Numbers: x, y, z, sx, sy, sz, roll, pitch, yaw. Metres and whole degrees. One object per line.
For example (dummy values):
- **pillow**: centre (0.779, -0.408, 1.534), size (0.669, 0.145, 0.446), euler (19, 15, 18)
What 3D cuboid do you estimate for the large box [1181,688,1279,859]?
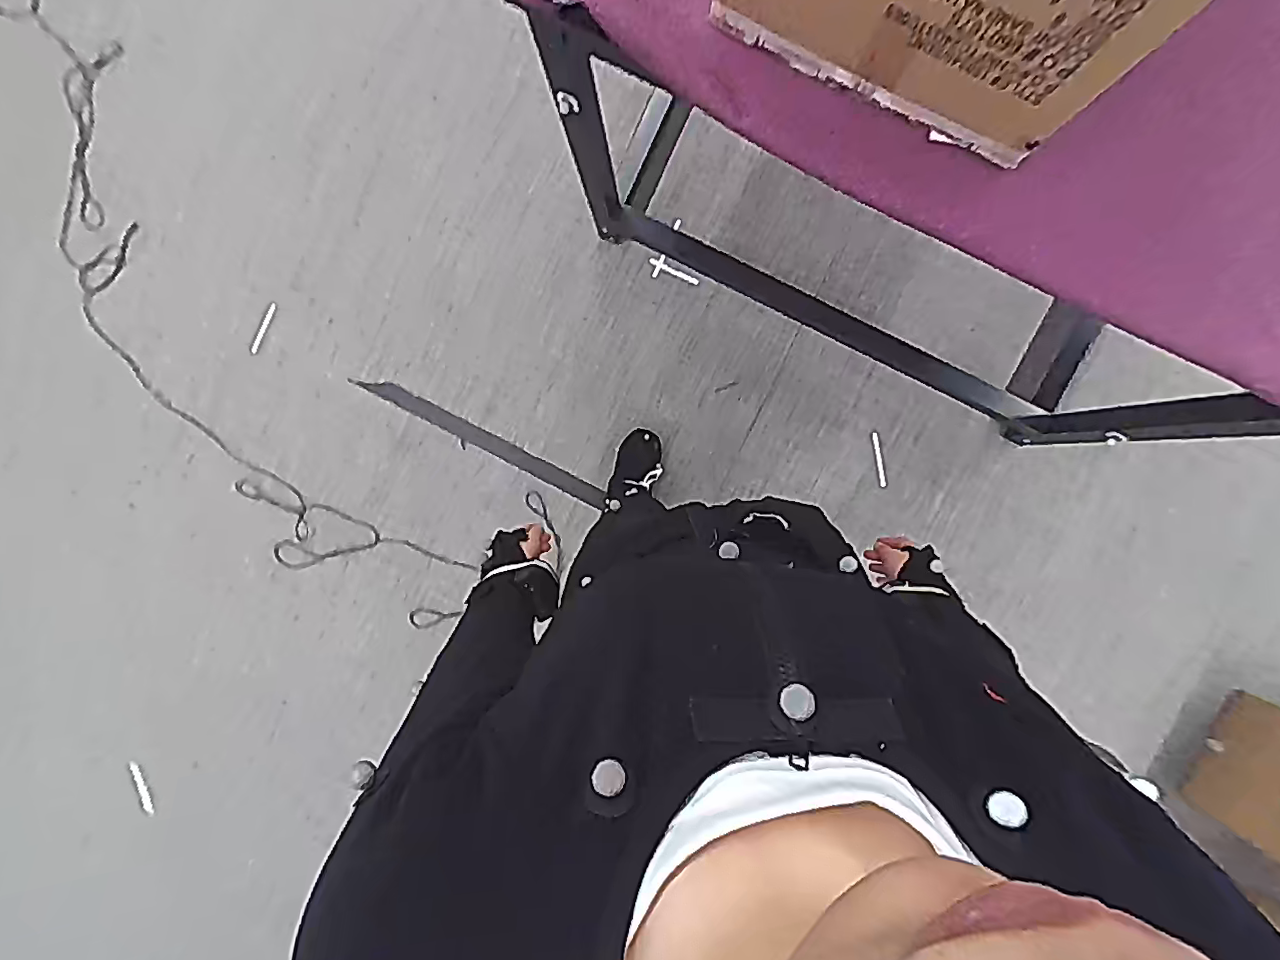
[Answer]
- **large box**: centre (1.580, 0.731, 1.184), size (0.408, 0.320, 0.320), euler (25, 93, 3)
